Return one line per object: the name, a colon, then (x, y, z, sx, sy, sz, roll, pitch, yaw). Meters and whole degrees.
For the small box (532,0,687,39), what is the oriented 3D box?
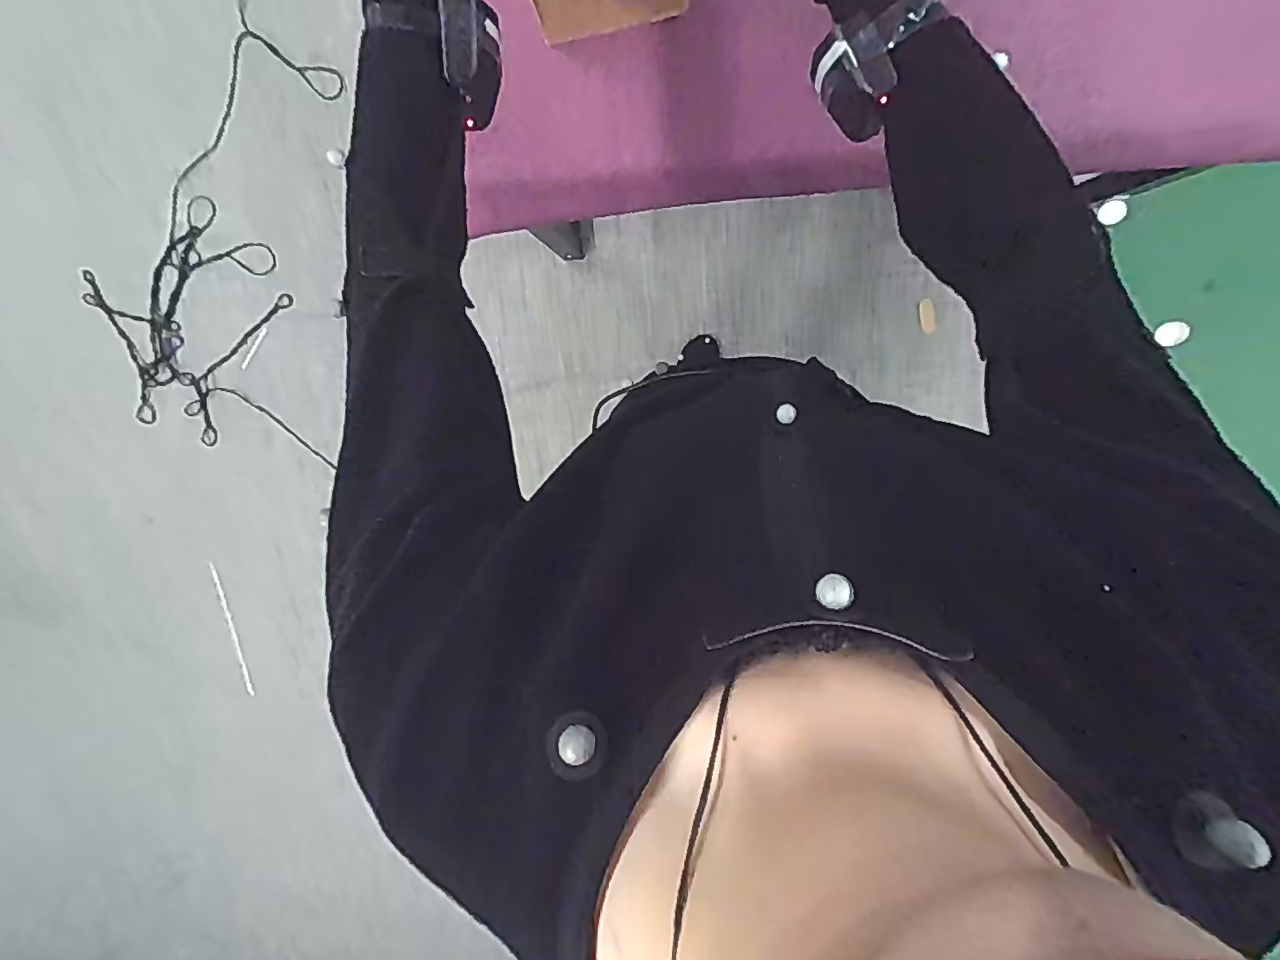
small box: (-0.045, -0.599, 0.556, 0.179, 0.176, 0.168, -7, 103, 5)
